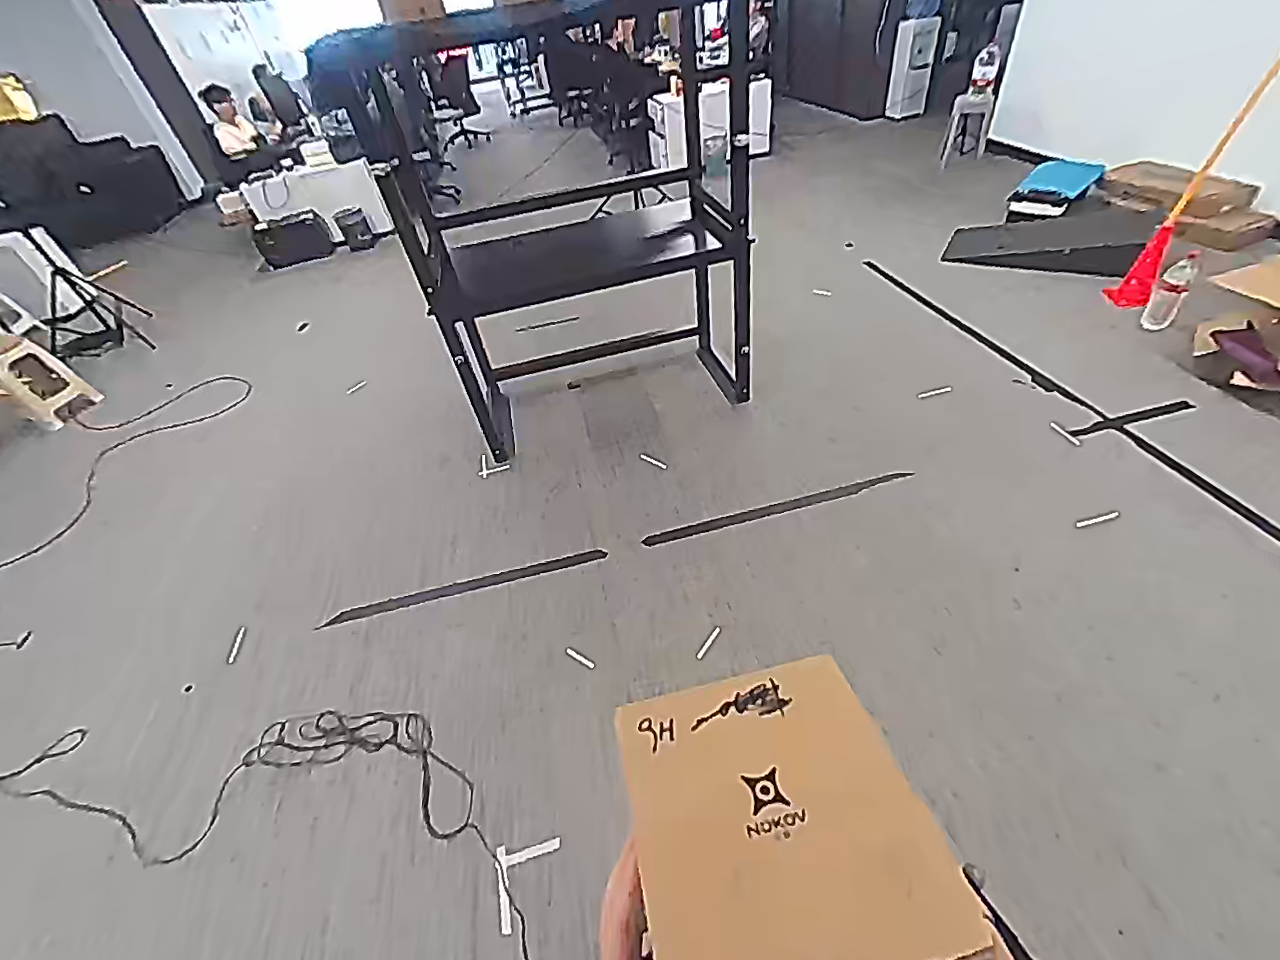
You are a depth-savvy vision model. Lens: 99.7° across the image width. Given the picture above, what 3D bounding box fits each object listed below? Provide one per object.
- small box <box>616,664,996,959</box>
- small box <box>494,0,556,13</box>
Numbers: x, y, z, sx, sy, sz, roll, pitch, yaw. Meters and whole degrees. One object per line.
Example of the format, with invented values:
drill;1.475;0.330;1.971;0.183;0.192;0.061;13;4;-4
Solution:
small box;0.086;0.261;0.362;0.168;0.176;0.179;-12;37;-5
small box;-0.326;-1.375;1.451;0.168;0.176;0.179;-13;42;-2
